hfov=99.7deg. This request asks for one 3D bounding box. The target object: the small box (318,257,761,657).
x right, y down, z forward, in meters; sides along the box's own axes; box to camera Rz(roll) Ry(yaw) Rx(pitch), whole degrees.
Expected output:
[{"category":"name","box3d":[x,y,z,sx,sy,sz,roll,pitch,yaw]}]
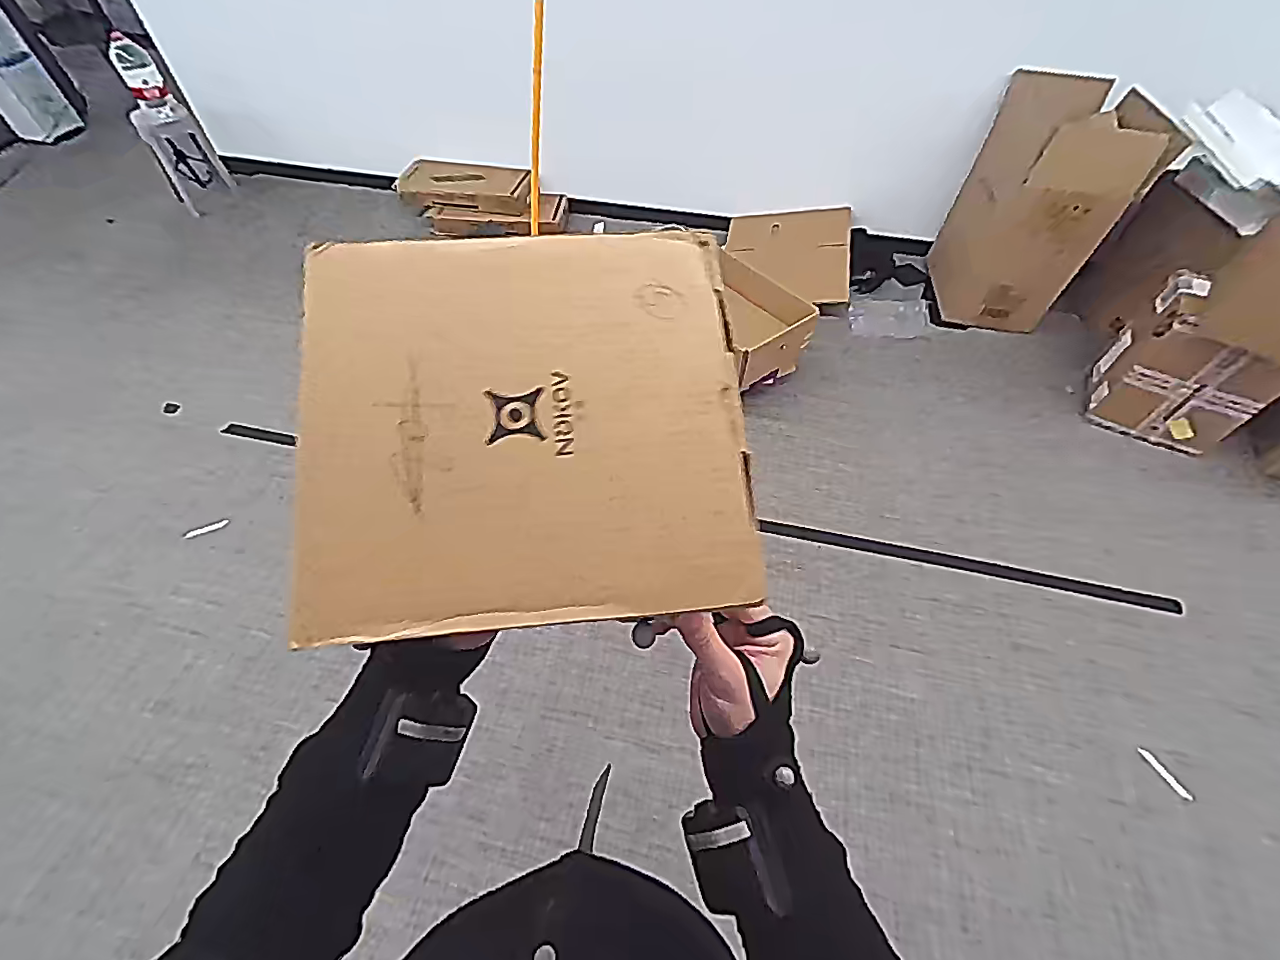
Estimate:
[{"category":"small box","box3d":[-0.047,0.001,0.306,0.179,0.176,0.168,-6,76,-3]}]
